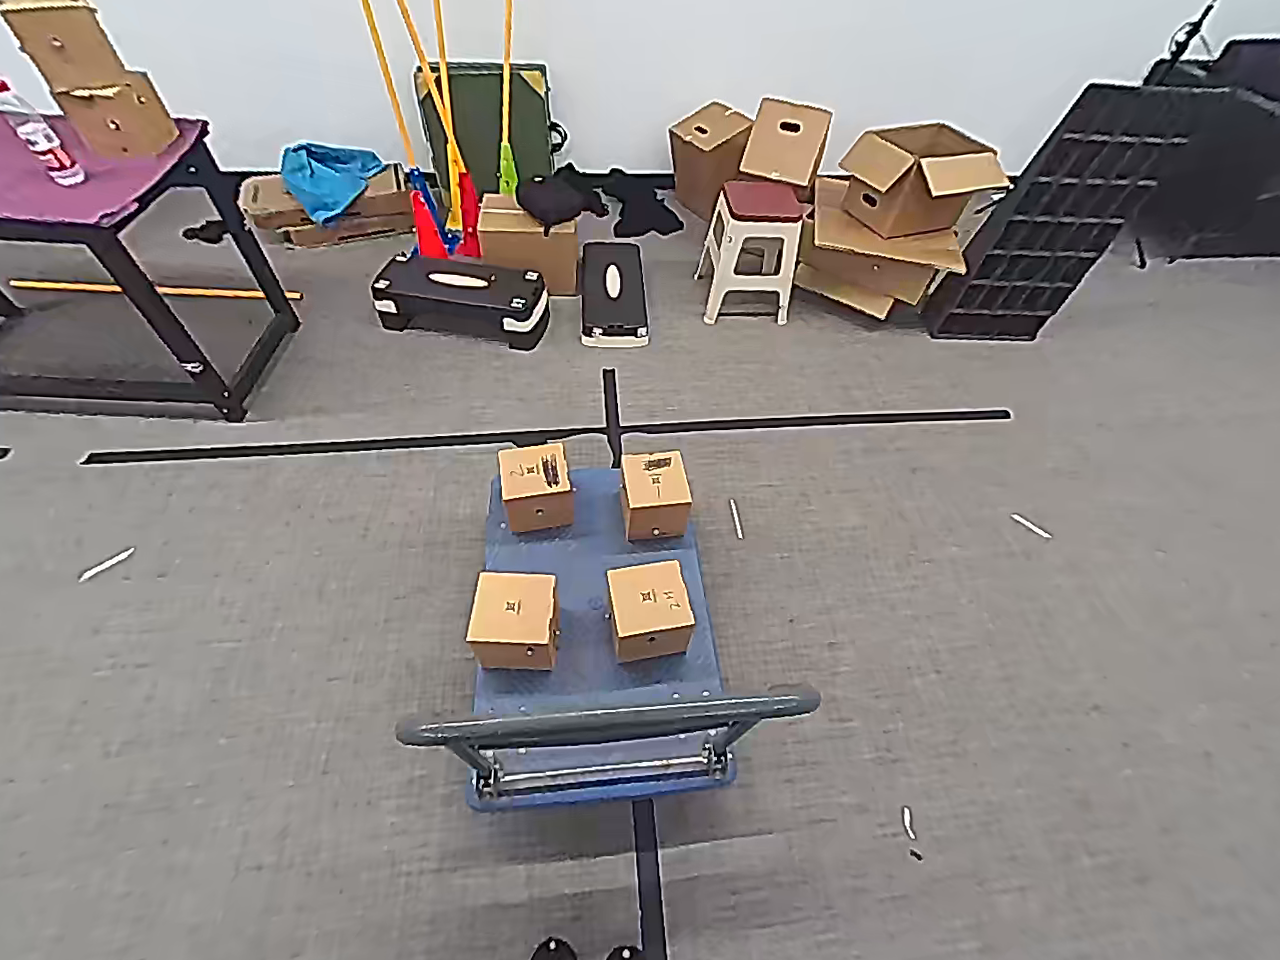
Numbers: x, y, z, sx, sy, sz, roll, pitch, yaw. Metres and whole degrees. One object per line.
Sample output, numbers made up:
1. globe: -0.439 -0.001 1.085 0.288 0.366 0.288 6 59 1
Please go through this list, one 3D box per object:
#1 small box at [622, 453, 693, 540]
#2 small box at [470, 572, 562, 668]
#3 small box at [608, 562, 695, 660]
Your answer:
1. small box: 0.042 0.048 1.502 0.168 0.176 0.179 -5 55 -7
2. small box: -0.281 0.331 1.265 0.179 0.176 0.168 3 52 -3
3. small box: 0.022 0.317 1.296 0.179 0.176 0.168 -7 54 -9
